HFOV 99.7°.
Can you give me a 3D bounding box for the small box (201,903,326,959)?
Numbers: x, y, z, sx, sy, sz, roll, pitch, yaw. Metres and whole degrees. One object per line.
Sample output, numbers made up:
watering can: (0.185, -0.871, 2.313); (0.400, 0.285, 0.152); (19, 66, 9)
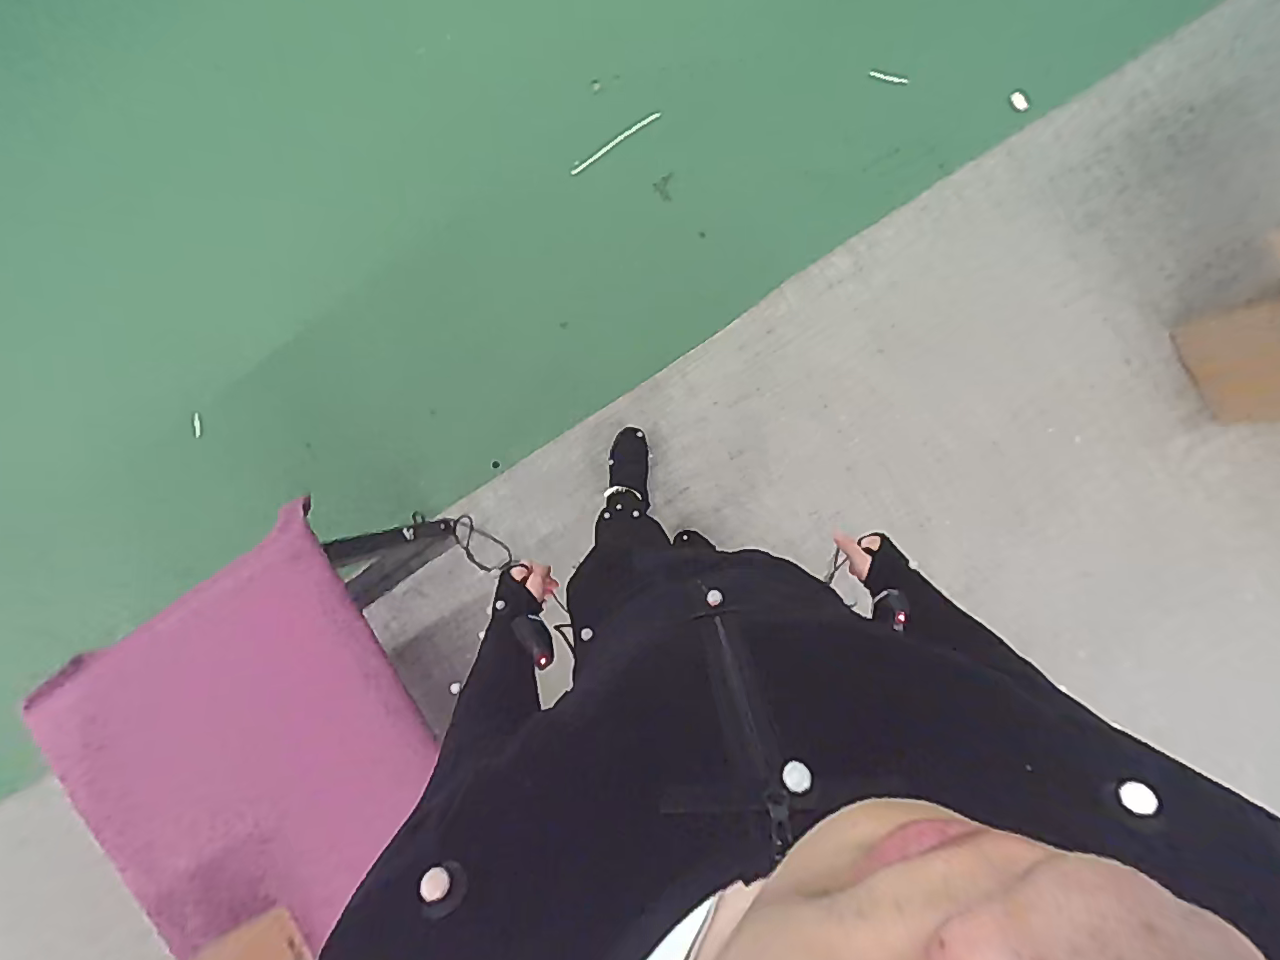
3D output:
small box: (-0.673, 0.880, 0.912); (0.179, 0.176, 0.168); (-31, 90, 3)
